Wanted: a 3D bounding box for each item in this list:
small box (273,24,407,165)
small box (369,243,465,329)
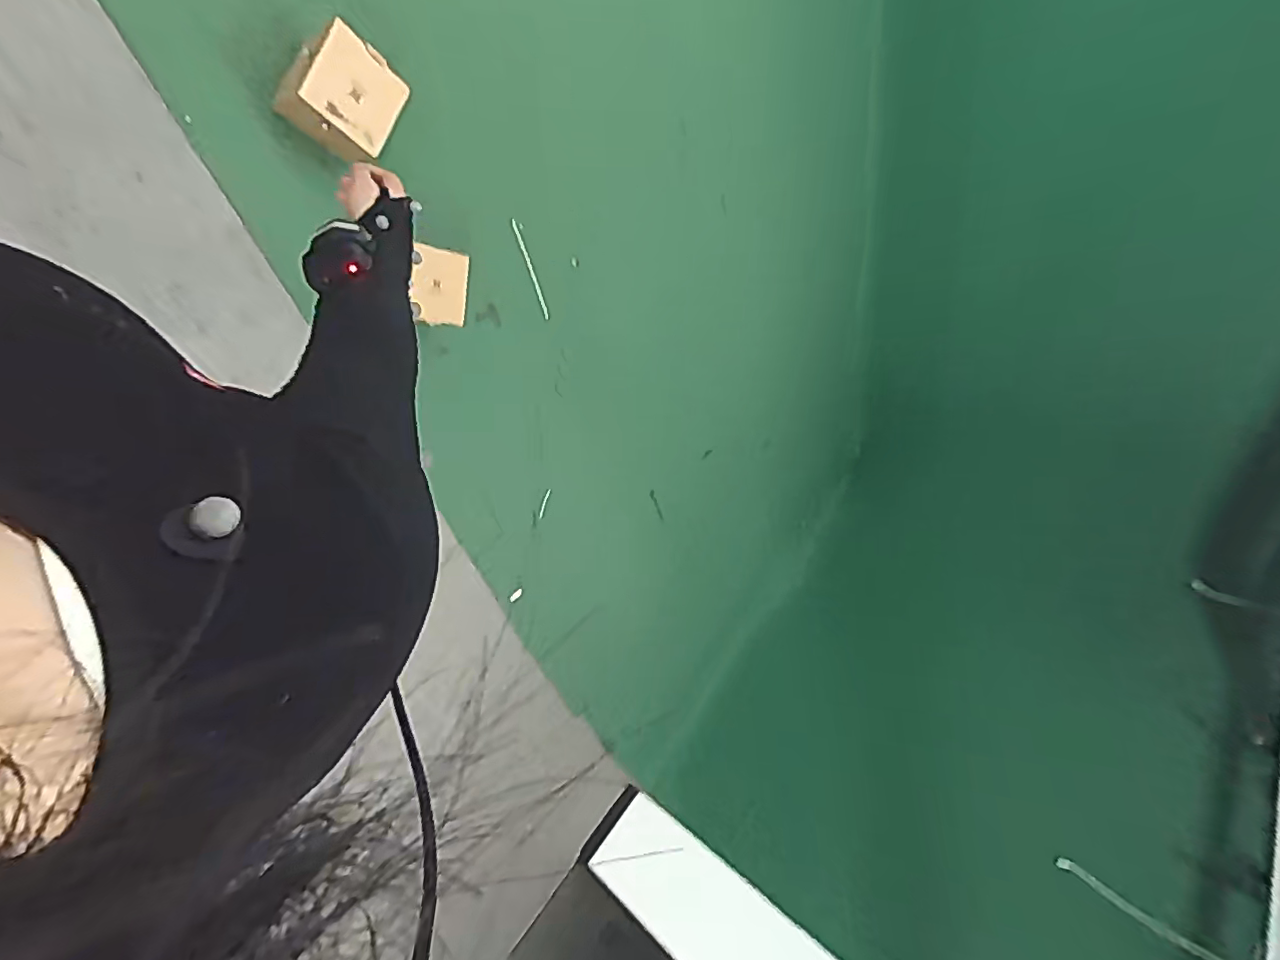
[{"bbox_3d":[-0.641,-0.807,1.150,0.168,0.176,0.179,29,83,-52],"label":"small box"},{"bbox_3d":[-0.574,-0.494,1.384,0.168,0.176,0.179,-8,113,-50],"label":"small box"}]
